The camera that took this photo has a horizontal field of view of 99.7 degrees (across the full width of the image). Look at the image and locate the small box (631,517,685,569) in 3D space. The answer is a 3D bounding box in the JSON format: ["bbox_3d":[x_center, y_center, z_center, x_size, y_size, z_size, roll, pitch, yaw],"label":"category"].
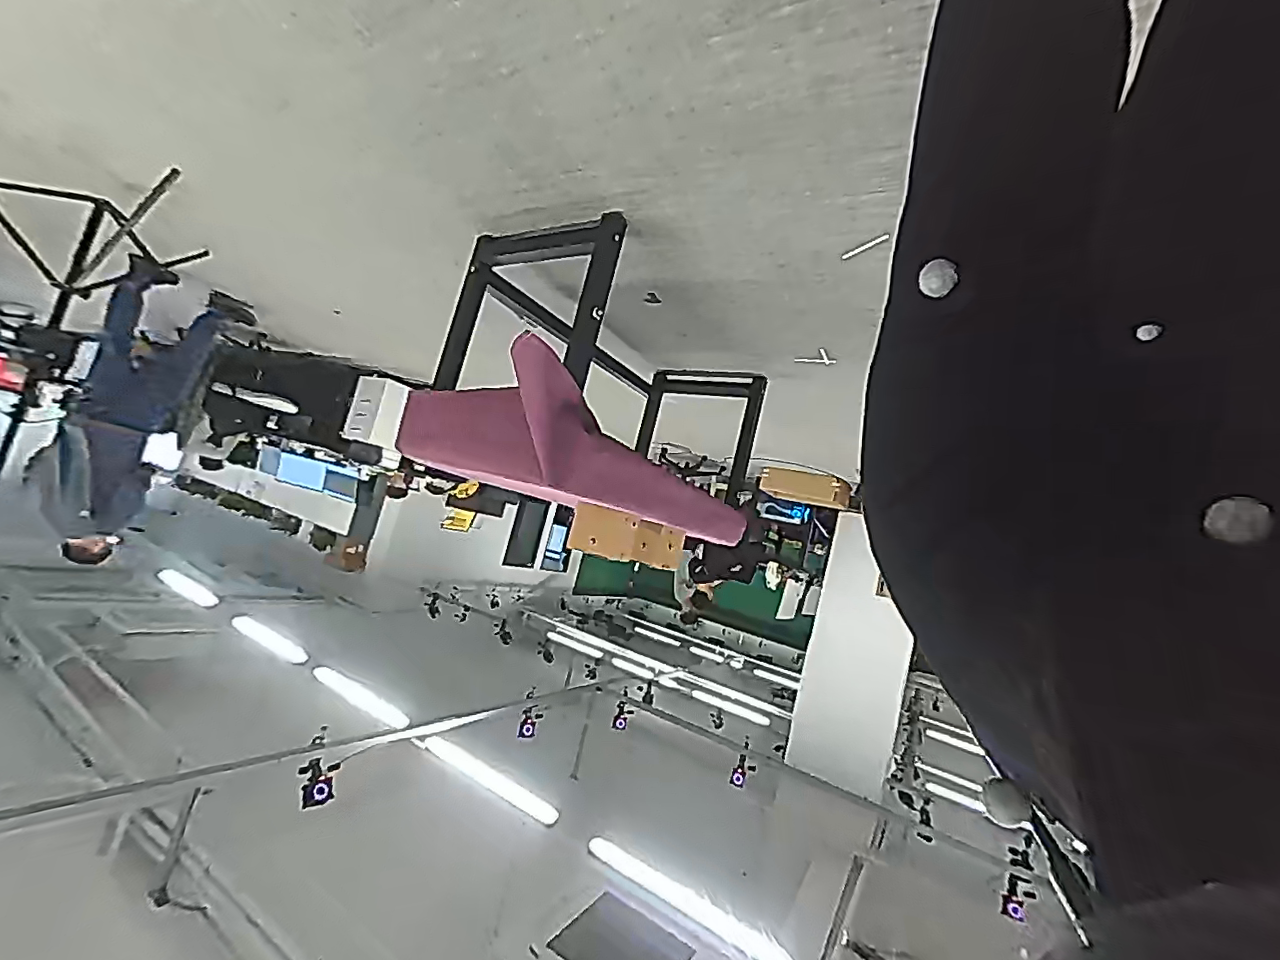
[{"bbox_3d":[0.065,0.251,2.179,0.179,0.176,0.168,8,171,42],"label":"small box"}]

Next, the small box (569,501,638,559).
[{"bbox_3d":[-0.122,0.176,1.917,0.179,0.176,0.168,12,174,27],"label":"small box"}]
